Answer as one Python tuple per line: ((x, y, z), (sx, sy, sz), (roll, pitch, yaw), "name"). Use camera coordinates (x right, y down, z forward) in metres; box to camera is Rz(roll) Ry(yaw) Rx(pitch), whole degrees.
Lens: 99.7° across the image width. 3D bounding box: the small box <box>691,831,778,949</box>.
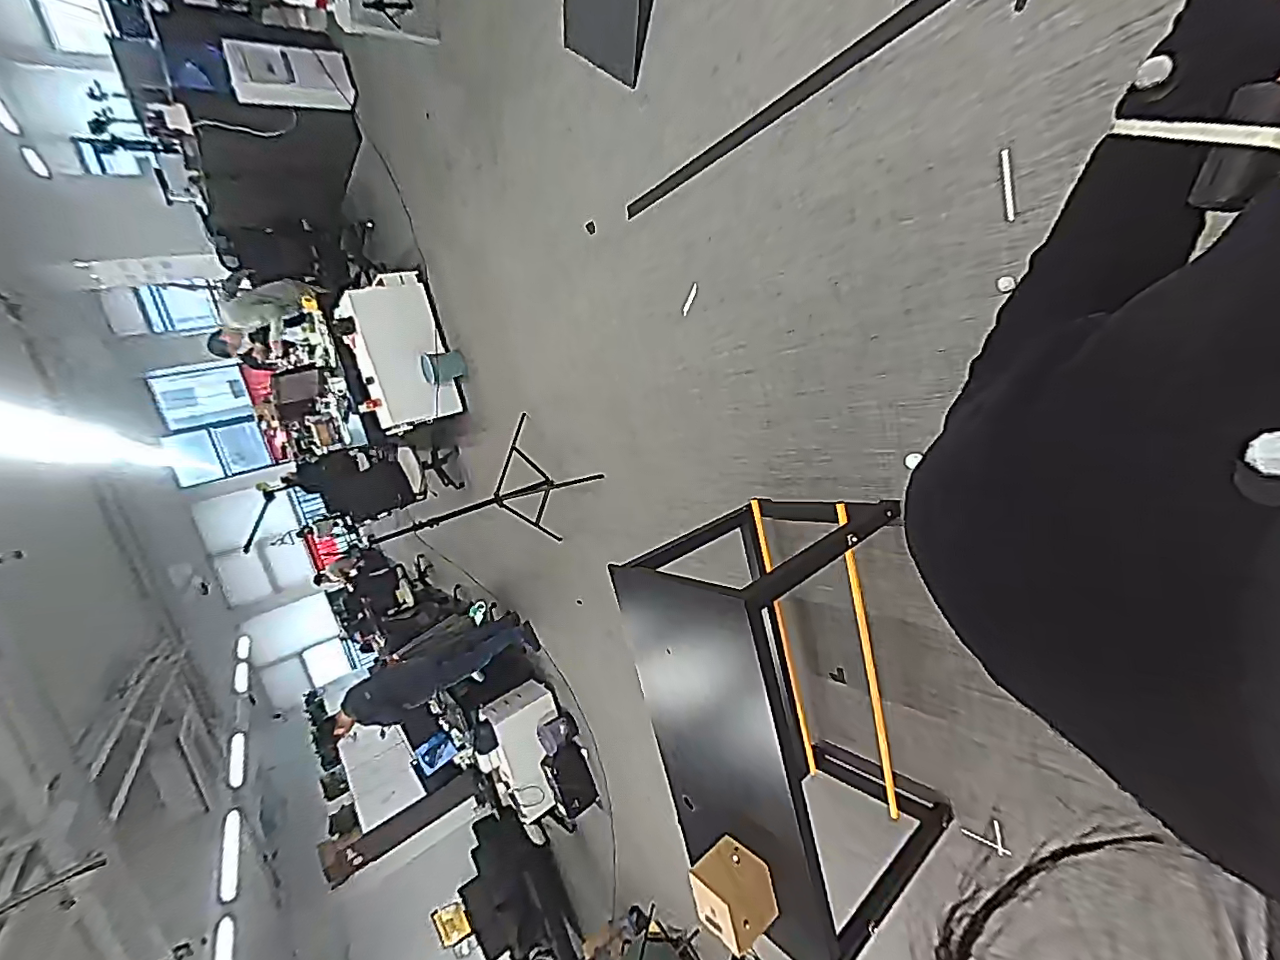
((0.280, 1.188, 1.582), (0.168, 0.176, 0.179), (0, 107, 55), "small box")
